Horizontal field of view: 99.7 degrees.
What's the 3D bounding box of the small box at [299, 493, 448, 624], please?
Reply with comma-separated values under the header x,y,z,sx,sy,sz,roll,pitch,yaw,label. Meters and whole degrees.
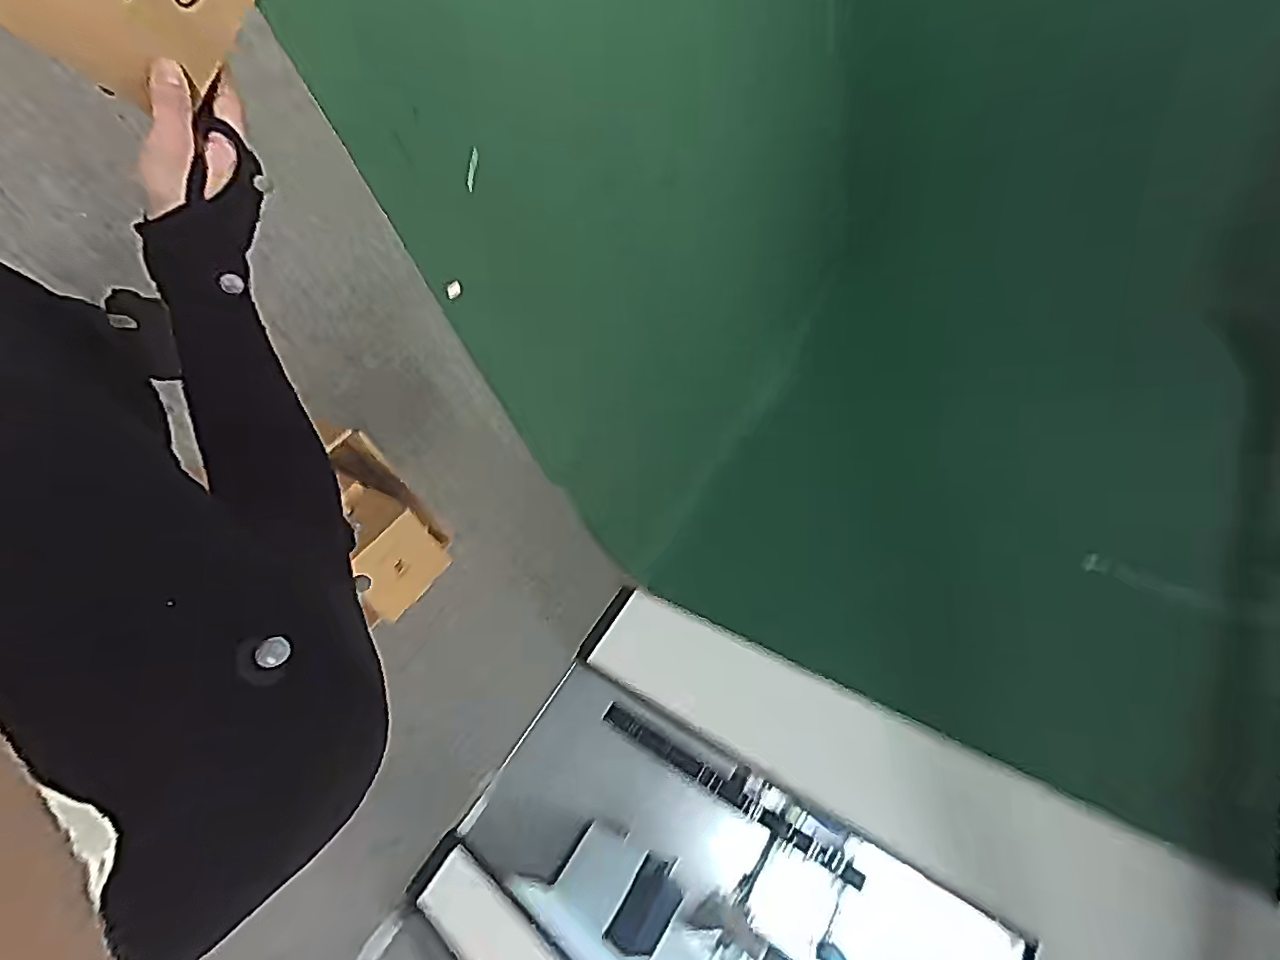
x,y,z,sx,sy,sz,roll,pitch,yaw,label
-0.532,0.151,1.089,0.168,0.176,0.179,-50,140,-29,small box
